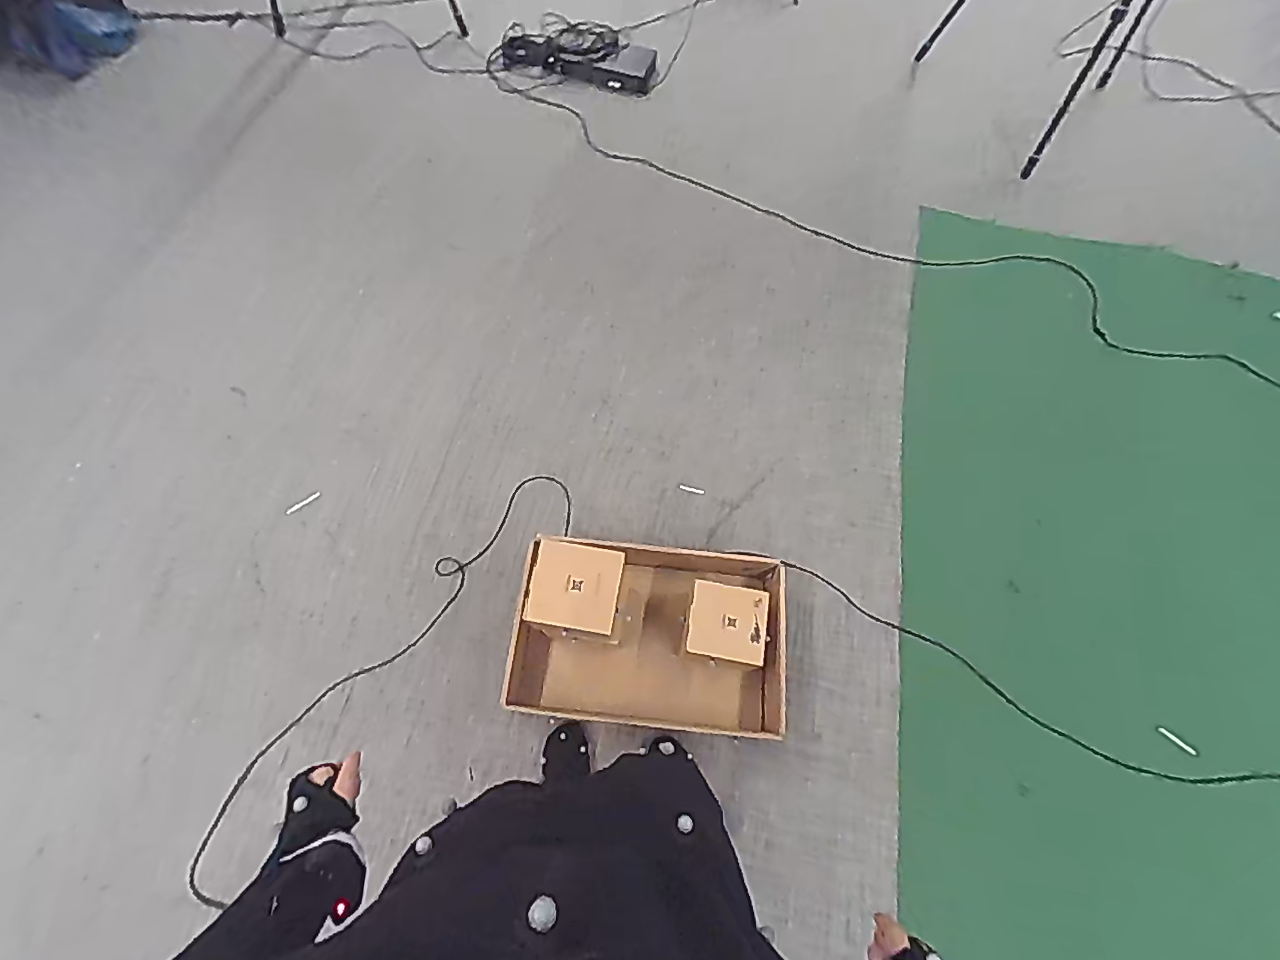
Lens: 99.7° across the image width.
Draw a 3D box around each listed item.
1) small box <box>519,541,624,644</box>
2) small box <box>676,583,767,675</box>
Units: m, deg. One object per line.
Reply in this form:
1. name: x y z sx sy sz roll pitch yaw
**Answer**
1. small box: -0.137 0.242 1.132 0.179 0.176 0.168 11 68 1
2. small box: 0.186 0.357 1.276 0.179 0.176 0.168 11 67 3
